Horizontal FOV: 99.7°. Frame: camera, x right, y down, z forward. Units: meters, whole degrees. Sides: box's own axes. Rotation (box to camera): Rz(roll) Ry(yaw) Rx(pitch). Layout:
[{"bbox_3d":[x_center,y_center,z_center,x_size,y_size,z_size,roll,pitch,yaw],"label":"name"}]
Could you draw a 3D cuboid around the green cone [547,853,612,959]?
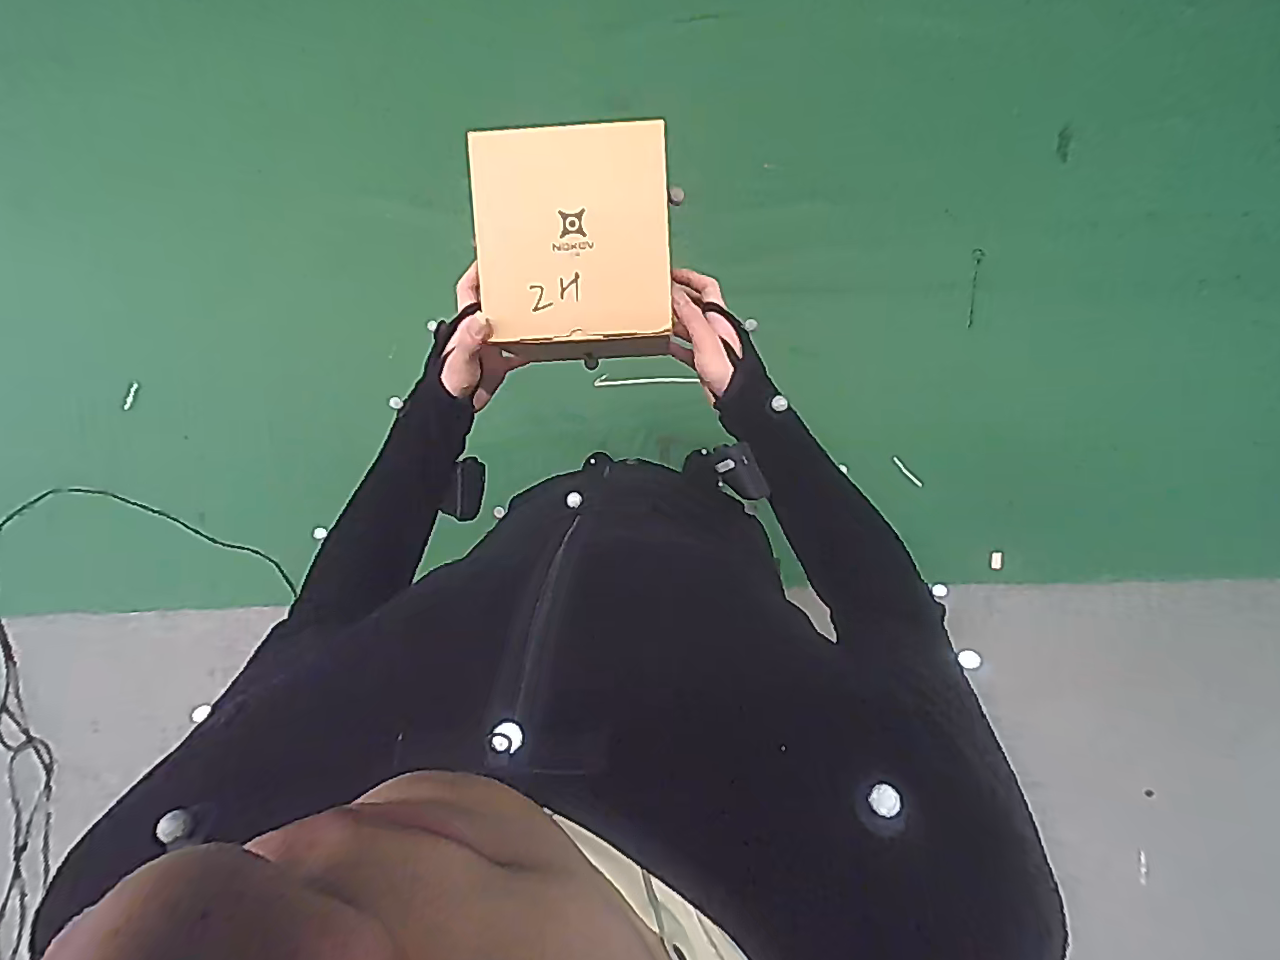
[{"bbox_3d":[-0.200,1.292,1.547,0.202,0.368,0.200,-3,93,3],"label":"green cone"}]
